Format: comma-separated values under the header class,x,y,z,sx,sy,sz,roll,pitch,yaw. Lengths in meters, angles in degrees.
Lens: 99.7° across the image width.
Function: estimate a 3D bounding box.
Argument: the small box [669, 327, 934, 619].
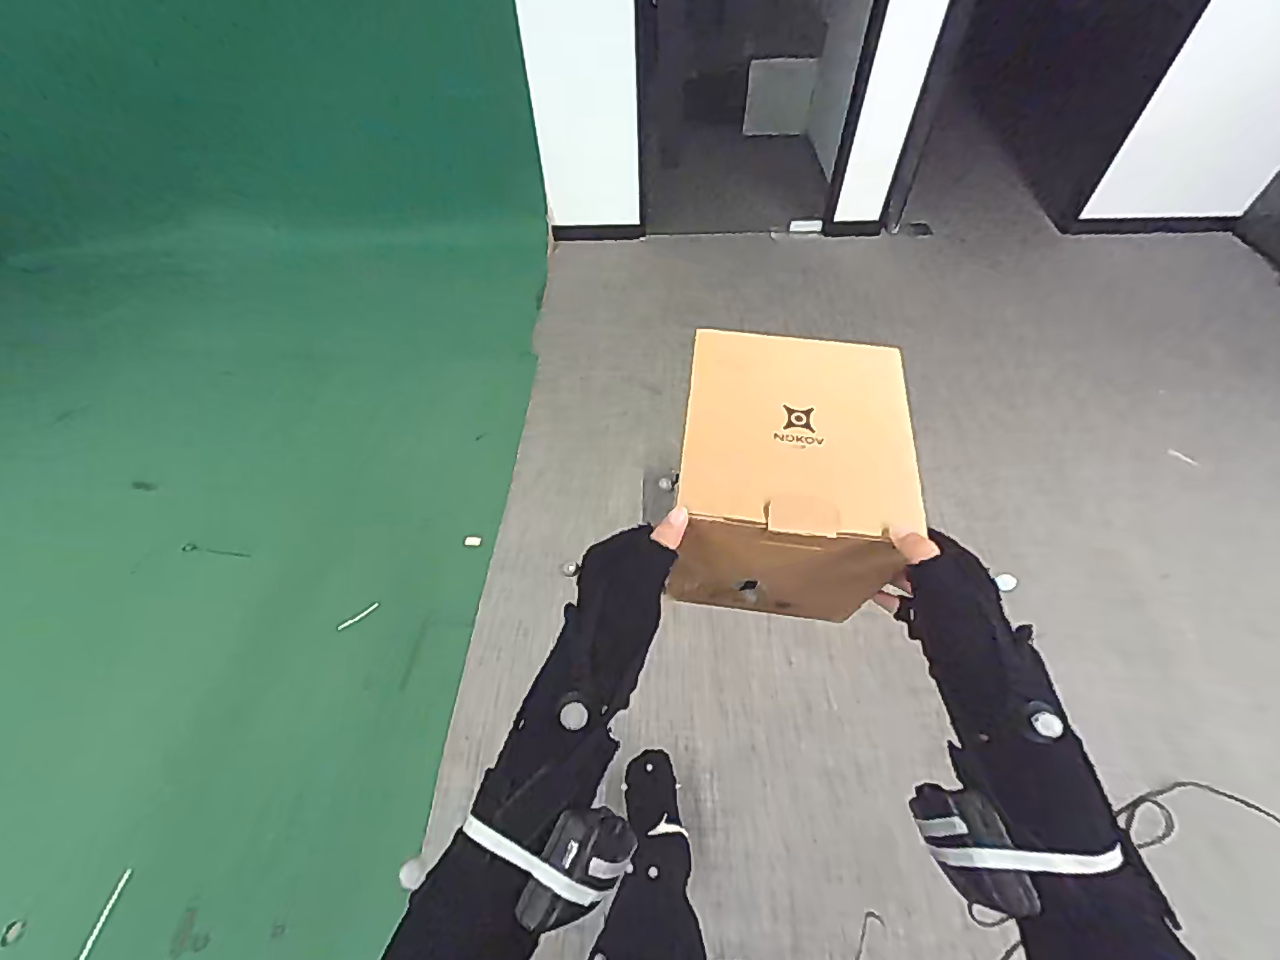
class,x,y,z,sx,sy,sz,roll,pitch,yaw
small box,0.118,0.001,0.460,0.168,0.176,0.179,7,60,3
